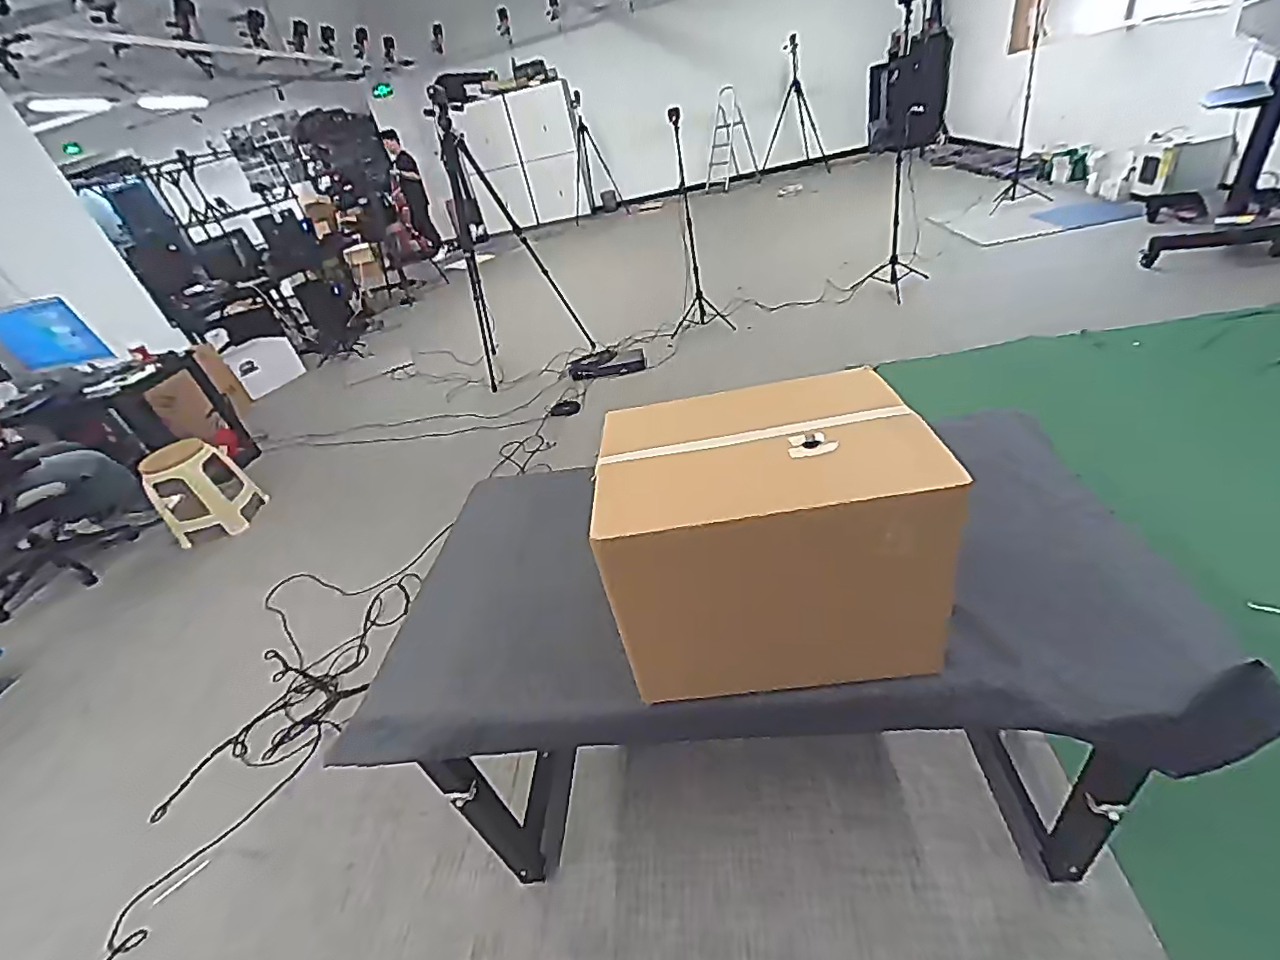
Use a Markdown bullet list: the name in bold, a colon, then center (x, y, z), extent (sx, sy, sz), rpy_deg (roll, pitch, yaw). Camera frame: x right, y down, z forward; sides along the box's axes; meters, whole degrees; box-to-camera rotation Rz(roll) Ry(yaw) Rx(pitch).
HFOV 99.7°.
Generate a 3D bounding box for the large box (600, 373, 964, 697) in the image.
- **large box**: center (0.173, 0.075, 0.787), extent (0.408, 0.320, 0.320), rpy_deg (-8, 34, 6)
